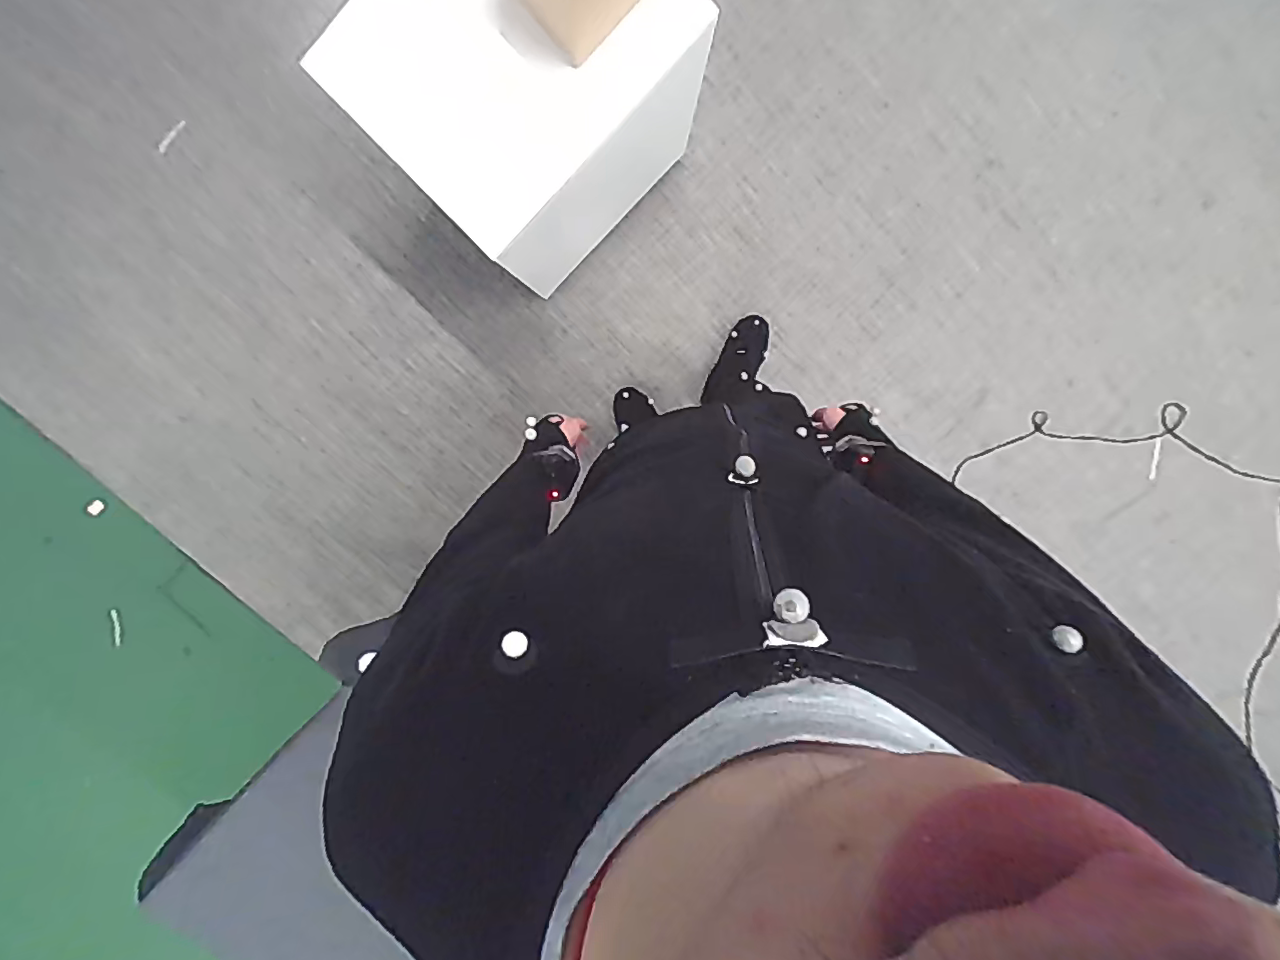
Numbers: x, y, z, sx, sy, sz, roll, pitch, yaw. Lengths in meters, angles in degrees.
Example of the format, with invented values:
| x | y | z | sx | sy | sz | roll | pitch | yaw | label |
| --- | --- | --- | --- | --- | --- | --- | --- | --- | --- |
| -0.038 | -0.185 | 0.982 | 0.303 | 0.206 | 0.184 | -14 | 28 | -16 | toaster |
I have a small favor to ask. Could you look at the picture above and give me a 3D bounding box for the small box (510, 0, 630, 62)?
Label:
| x | y | z | sx | sy | sz | roll | pitch | yaw | label |
| --- | --- | --- | --- | --- | --- | --- | --- | --- | --- |
| -0.101 | -0.707 | 0.701 | 0.179 | 0.176 | 0.168 | -45 | 101 | 5 | small box |
